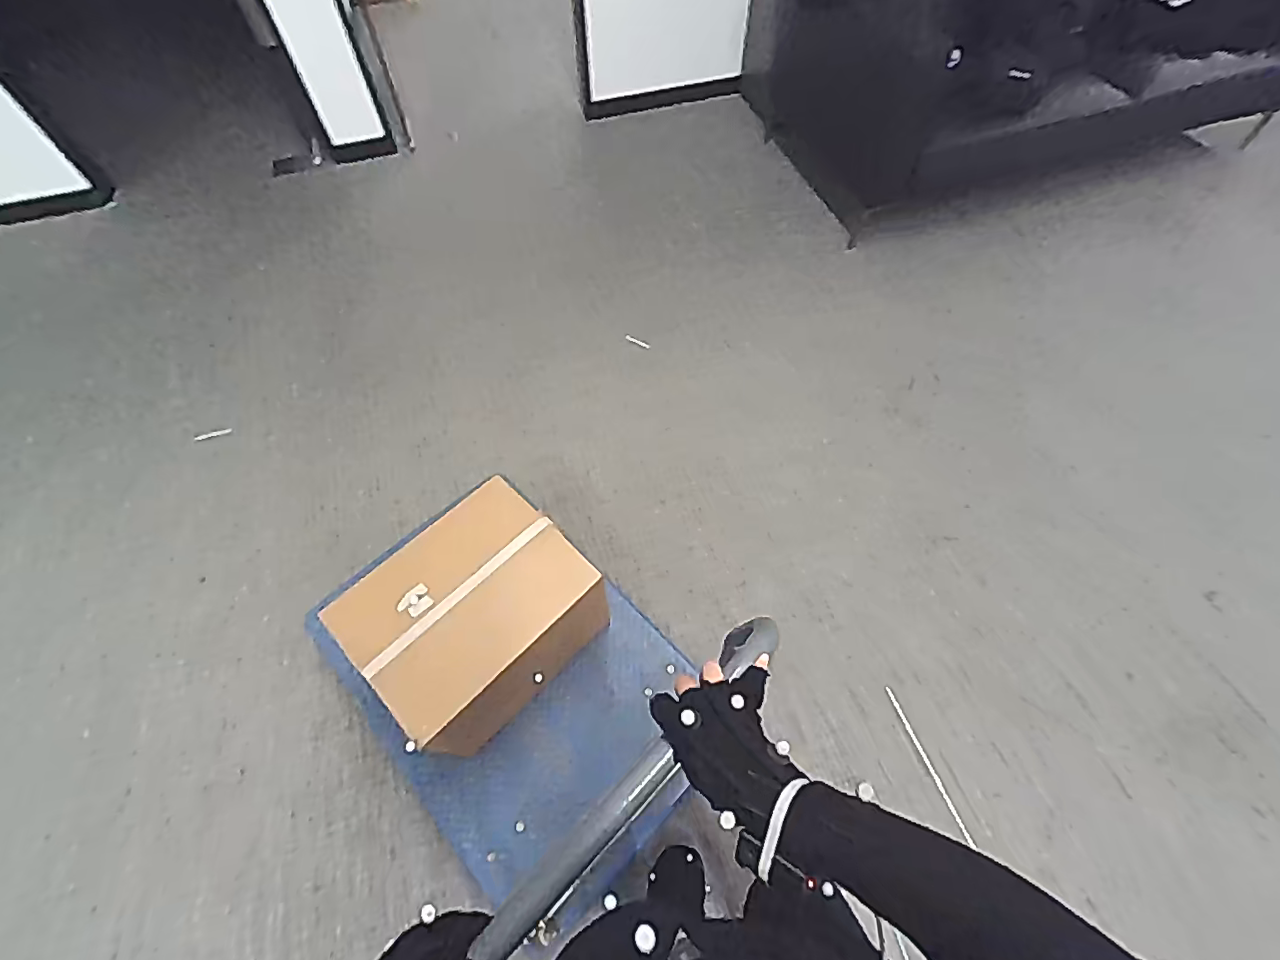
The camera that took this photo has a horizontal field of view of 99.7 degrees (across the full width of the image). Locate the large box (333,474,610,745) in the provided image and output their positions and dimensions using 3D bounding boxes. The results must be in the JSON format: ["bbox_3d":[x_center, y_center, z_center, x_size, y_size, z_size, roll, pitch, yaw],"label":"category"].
[{"bbox_3d":[-0.308,0.271,1.115,0.320,0.320,0.408,40,69,20],"label":"large box"}]
